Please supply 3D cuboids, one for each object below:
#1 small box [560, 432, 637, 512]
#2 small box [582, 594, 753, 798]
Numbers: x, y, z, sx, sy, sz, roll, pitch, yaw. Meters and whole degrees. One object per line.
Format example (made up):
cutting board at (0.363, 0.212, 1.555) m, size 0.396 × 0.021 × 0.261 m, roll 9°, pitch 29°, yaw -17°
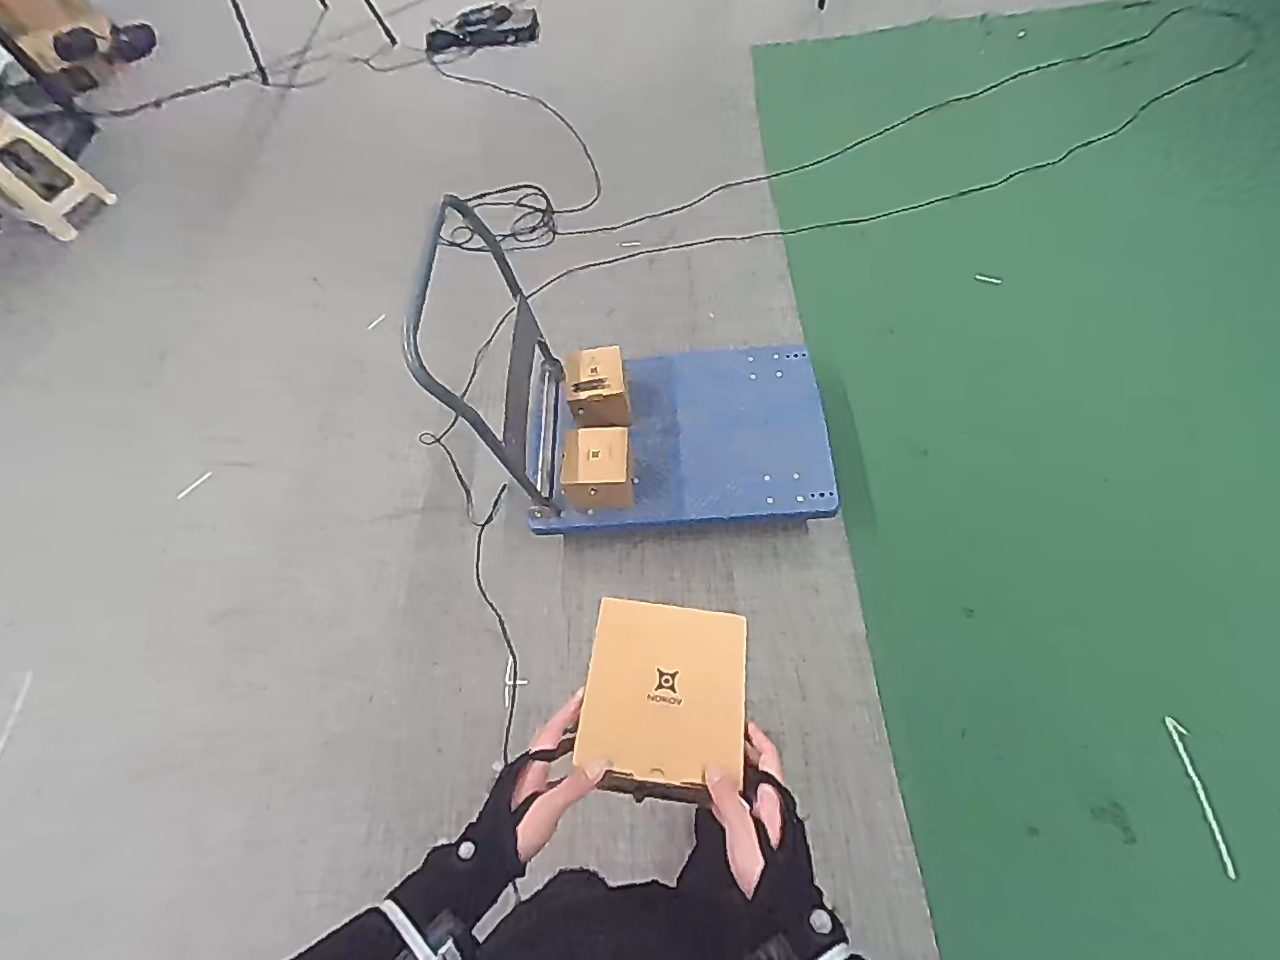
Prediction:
small box at (-0.107, -0.016, 1.484) m, size 0.179 × 0.176 × 0.168 m, roll -1°, pitch 63°, yaw 6°
small box at (0.031, 0.254, 0.628) m, size 0.168 × 0.176 × 0.179 m, roll 7°, pitch 57°, yaw 2°
